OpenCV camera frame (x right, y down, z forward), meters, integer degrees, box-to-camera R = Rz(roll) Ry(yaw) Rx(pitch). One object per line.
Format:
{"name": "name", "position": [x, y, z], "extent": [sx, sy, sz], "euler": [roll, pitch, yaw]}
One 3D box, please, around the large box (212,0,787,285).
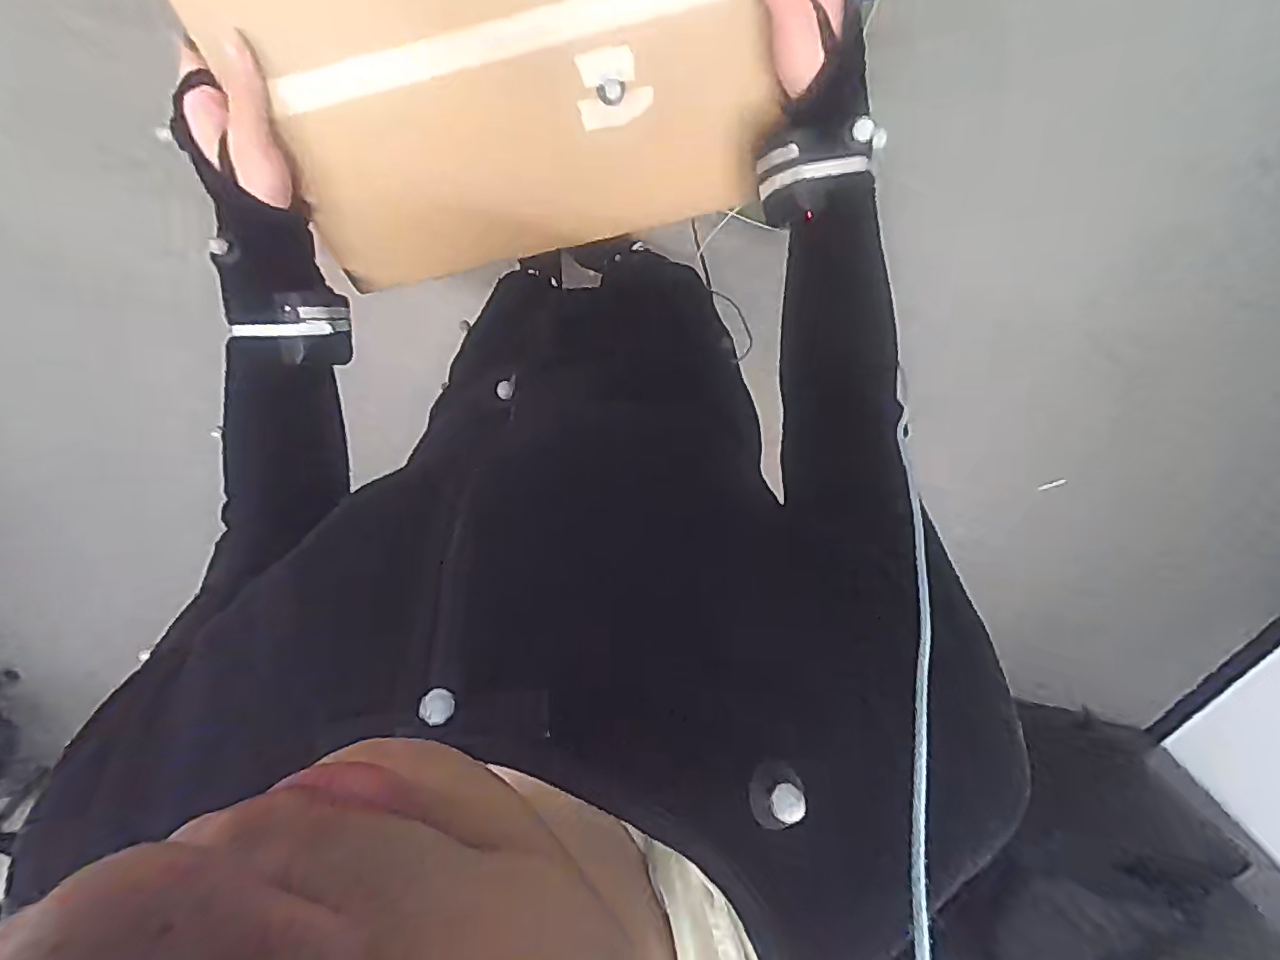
{"name": "large box", "position": [-0.106, -0.432, 0.499], "extent": [0.408, 0.320, 0.320], "euler": [-12, 137, 2]}
